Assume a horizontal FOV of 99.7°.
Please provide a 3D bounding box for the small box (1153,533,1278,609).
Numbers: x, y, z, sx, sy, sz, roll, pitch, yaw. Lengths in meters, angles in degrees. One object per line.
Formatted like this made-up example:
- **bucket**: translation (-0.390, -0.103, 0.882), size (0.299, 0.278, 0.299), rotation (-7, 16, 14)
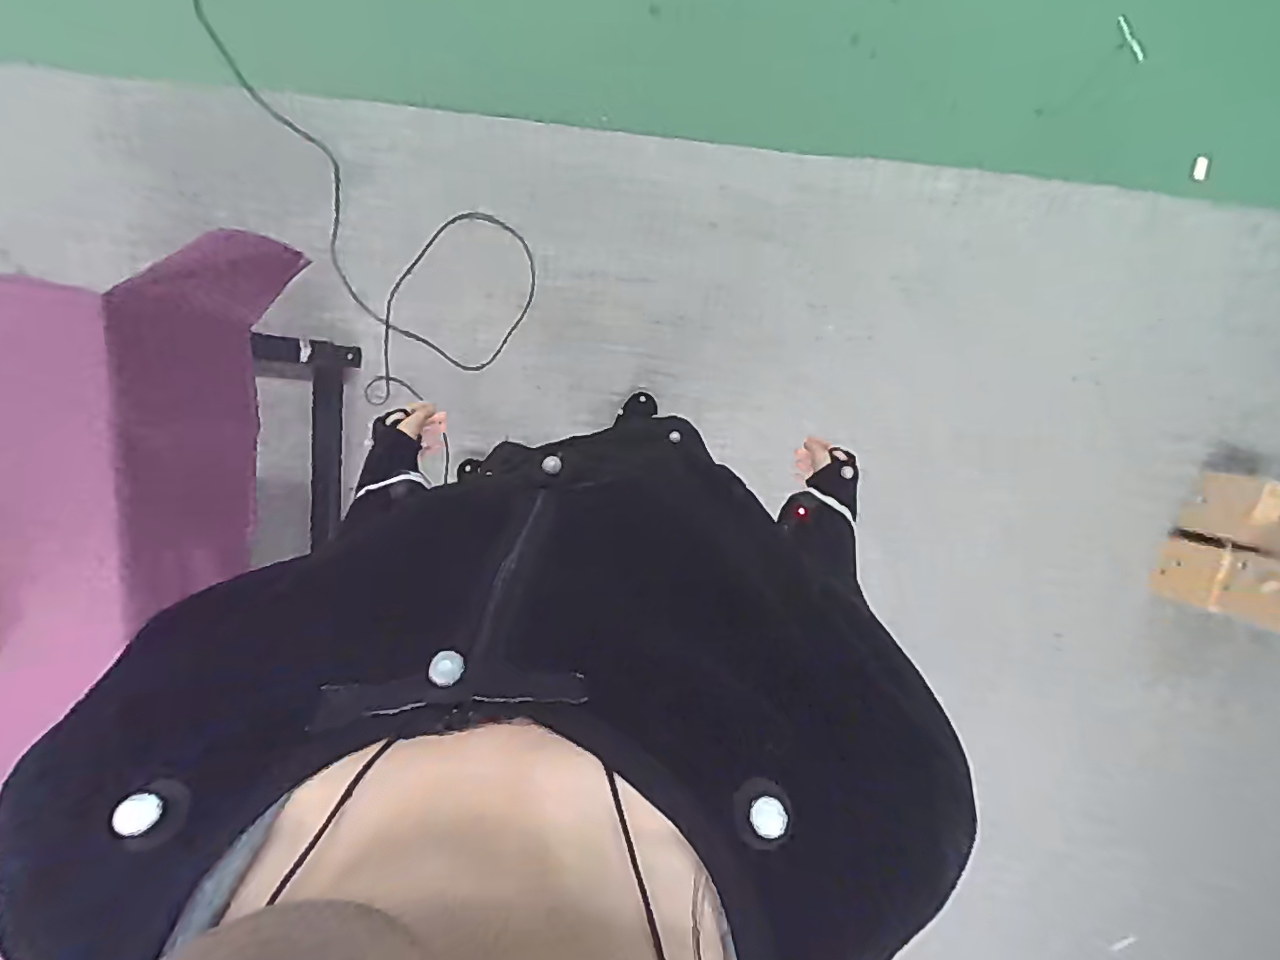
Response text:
- **small box**: translation (1.599, 0.252, 1.498), size (0.179, 0.176, 0.168), rotation (6, 99, -1)

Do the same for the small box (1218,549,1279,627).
- **small box**: translation (1.613, 0.279, 1.336), size (0.179, 0.176, 0.168), rotation (11, 99, -2)
